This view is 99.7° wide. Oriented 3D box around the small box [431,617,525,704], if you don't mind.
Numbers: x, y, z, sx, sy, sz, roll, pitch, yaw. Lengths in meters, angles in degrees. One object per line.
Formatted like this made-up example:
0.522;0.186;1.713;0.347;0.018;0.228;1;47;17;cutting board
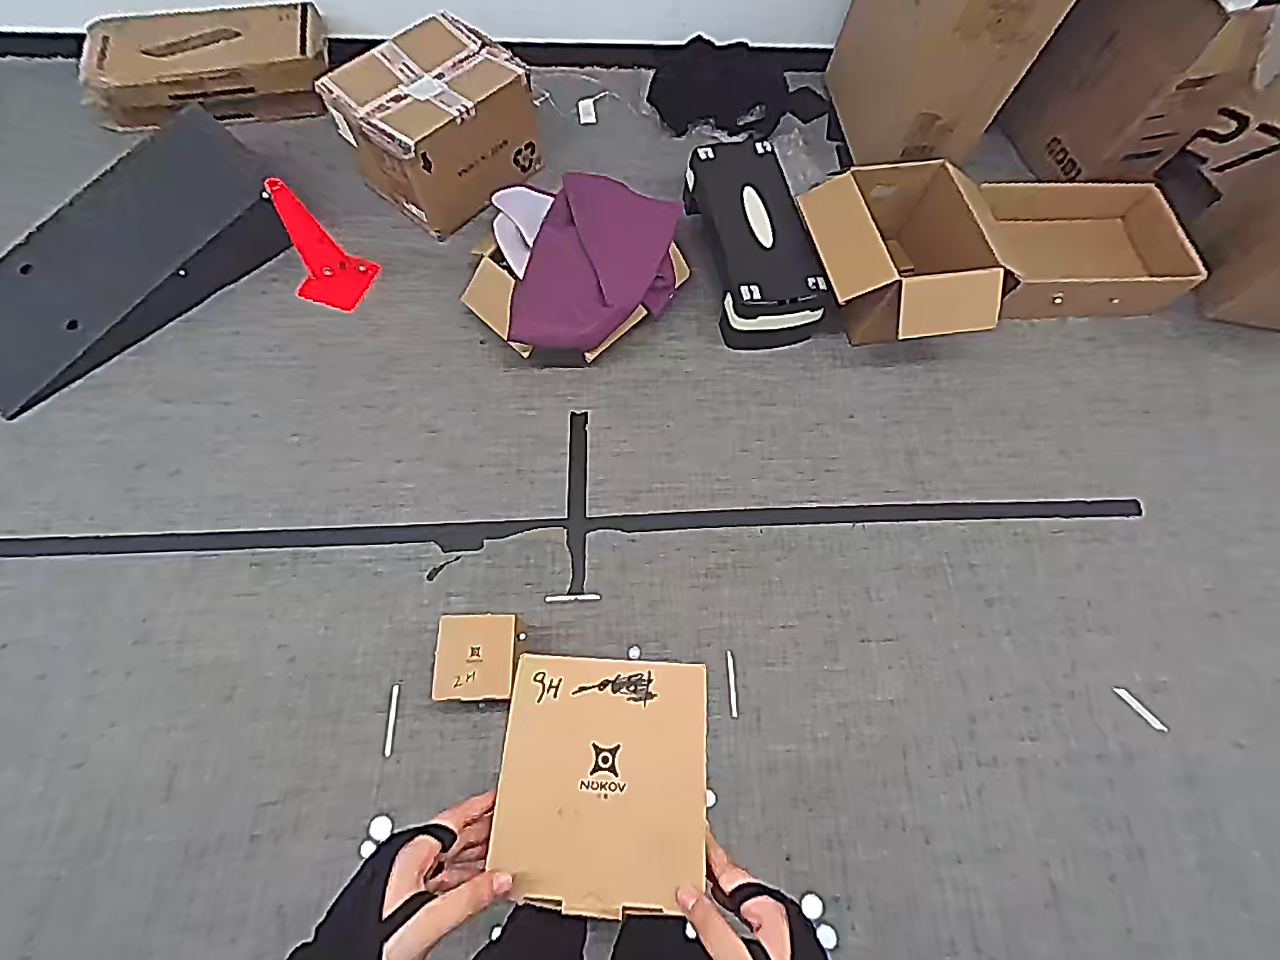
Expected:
-0.357;0.412;1.228;0.168;0.176;0.179;-1;68;-2;small box
